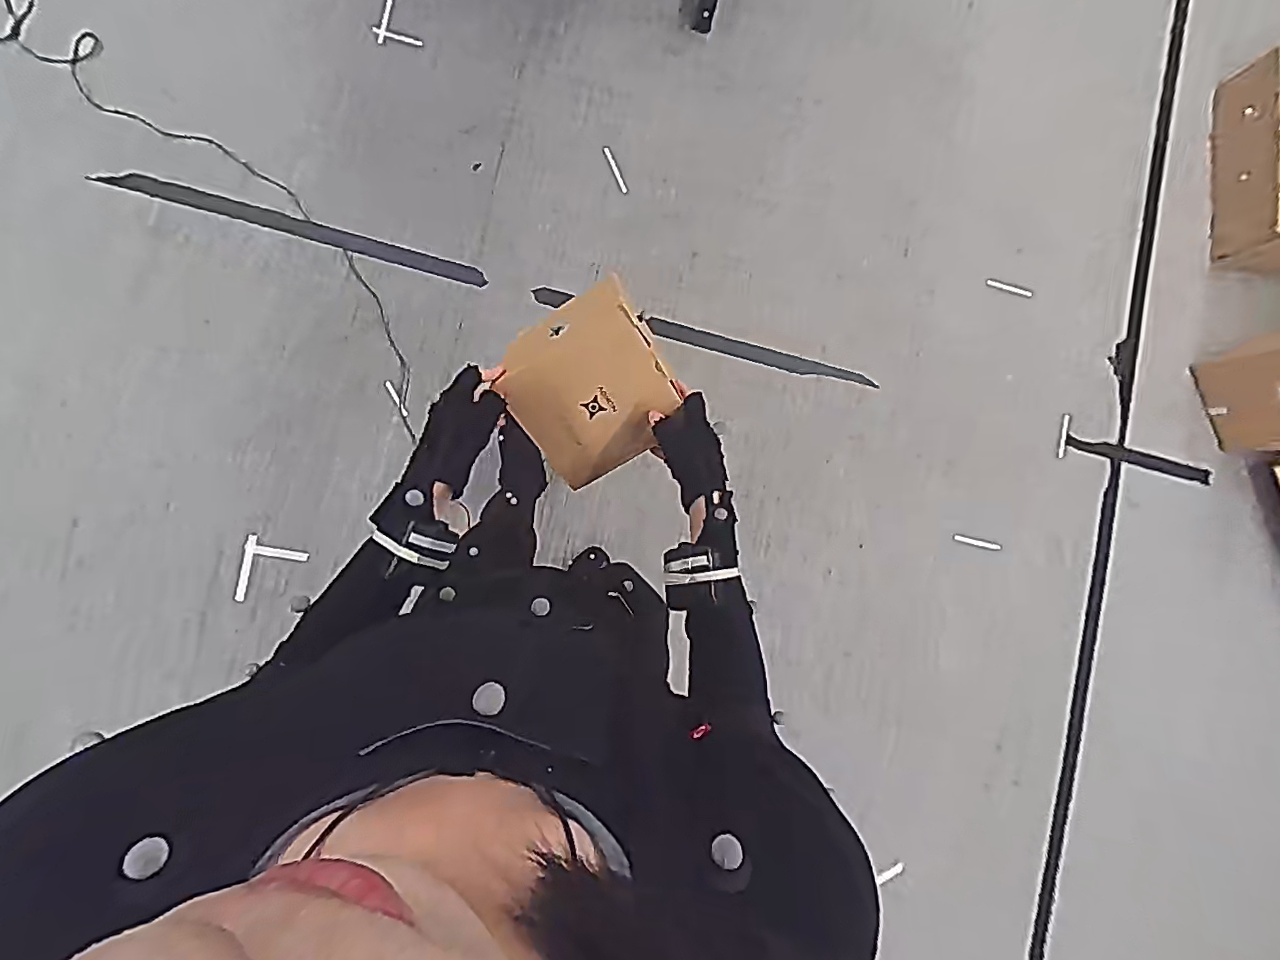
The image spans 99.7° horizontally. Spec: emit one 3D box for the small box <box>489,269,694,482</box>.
[{"bbox_3d":[-0.058,-0.136,0.670,0.179,0.176,0.168,-31,118,12],"label":"small box"}]
